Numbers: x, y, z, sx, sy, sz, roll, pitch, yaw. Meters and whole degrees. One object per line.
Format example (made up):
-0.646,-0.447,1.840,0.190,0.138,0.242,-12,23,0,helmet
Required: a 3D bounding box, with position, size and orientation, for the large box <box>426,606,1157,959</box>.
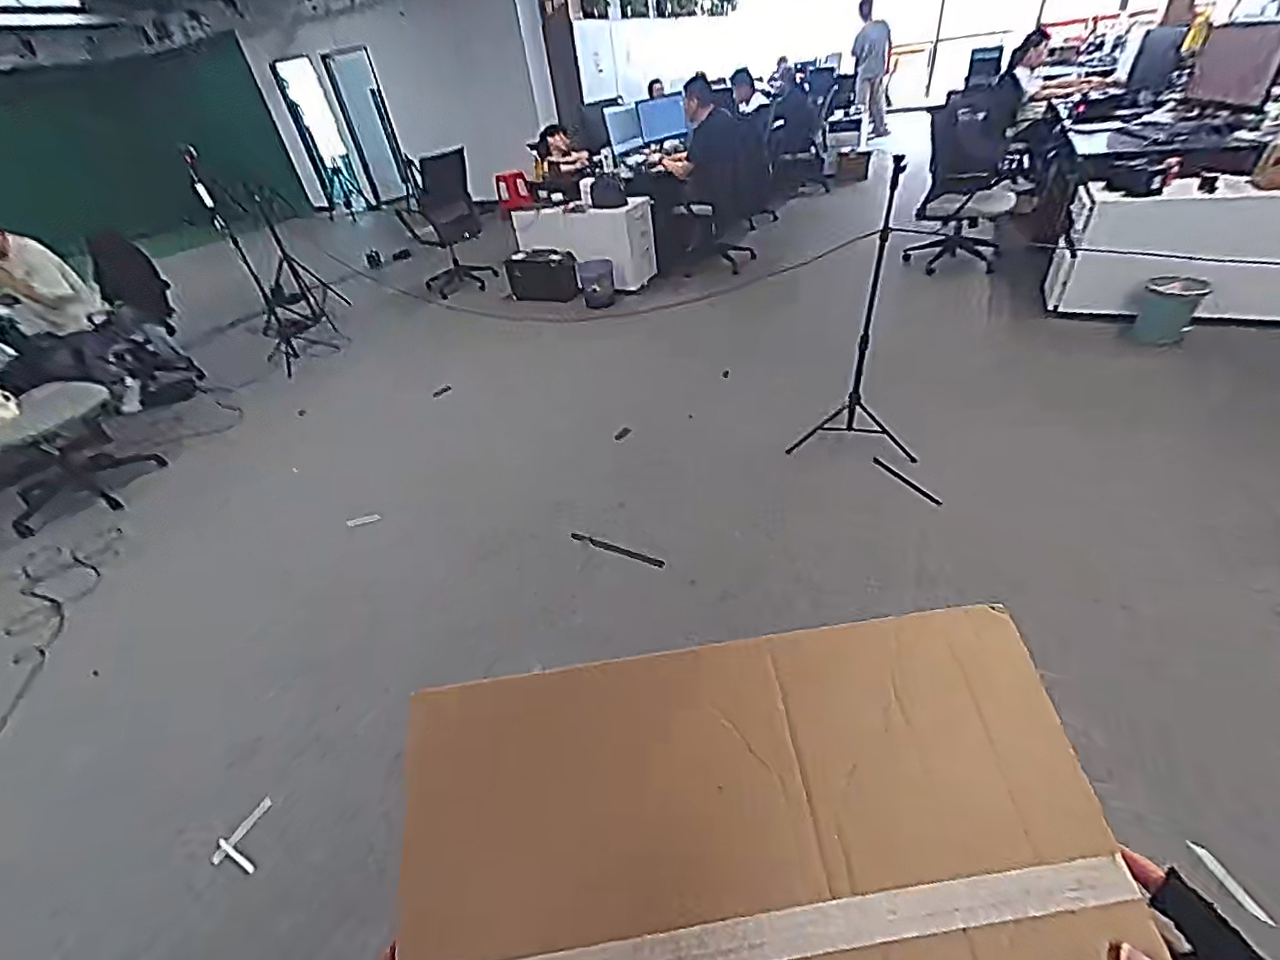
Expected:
0.080,0.320,0.435,0.408,0.320,0.320,-8,63,-2,large box
